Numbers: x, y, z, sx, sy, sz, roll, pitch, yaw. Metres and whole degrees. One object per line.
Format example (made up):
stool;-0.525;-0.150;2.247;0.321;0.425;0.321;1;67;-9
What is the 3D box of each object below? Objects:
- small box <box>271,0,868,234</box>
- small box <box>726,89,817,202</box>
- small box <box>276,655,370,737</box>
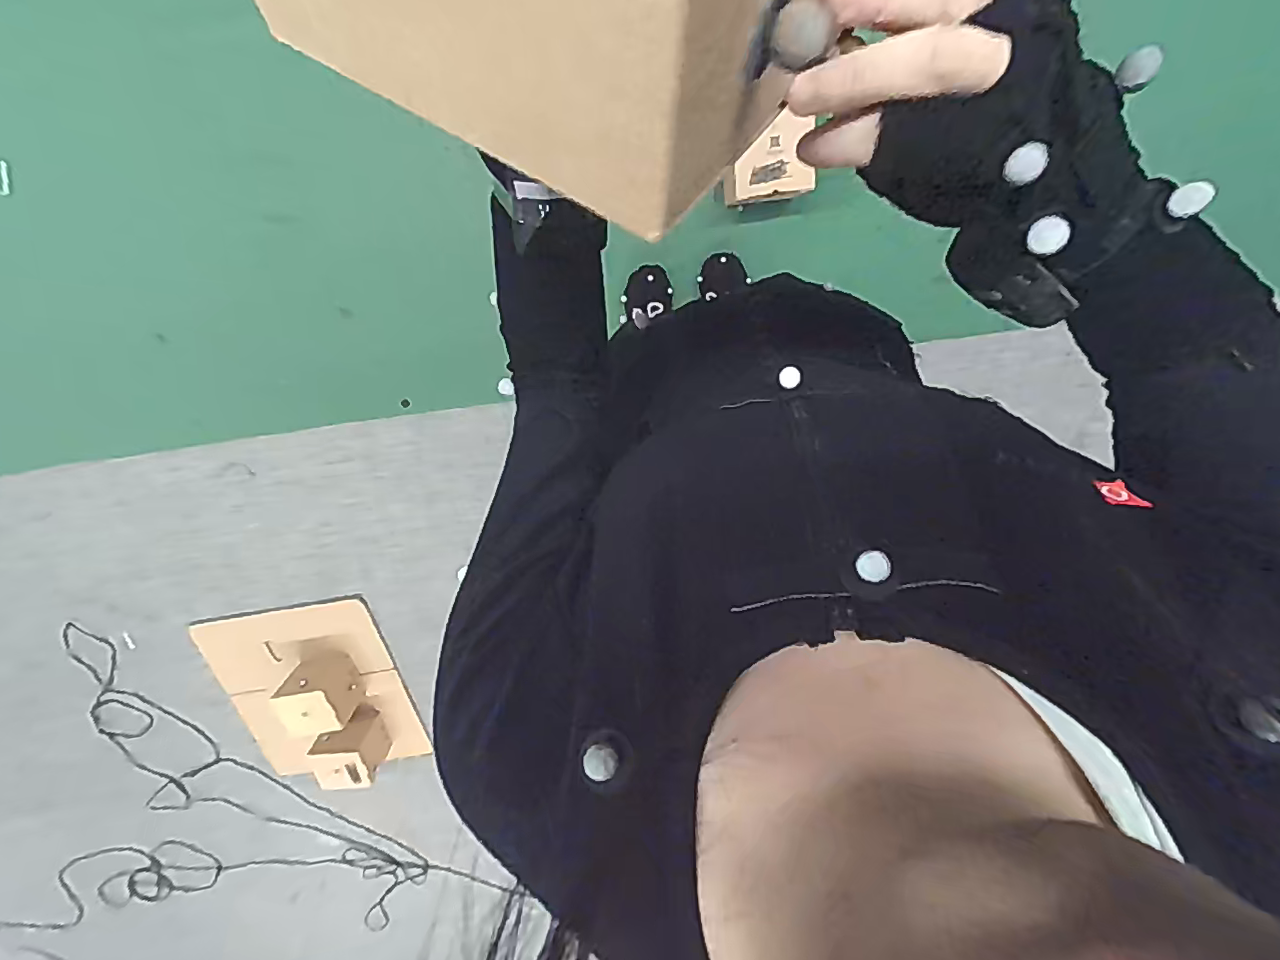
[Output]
small box;-0.010;-0.210;0.133;0.168;0.176;0.179;31;69;9
small box;0.275;-0.707;1.163;0.168;0.176;0.179;-6;112;3
small box;-1.020;0.696;1.754;0.179;0.176;0.168;-12;112;4
